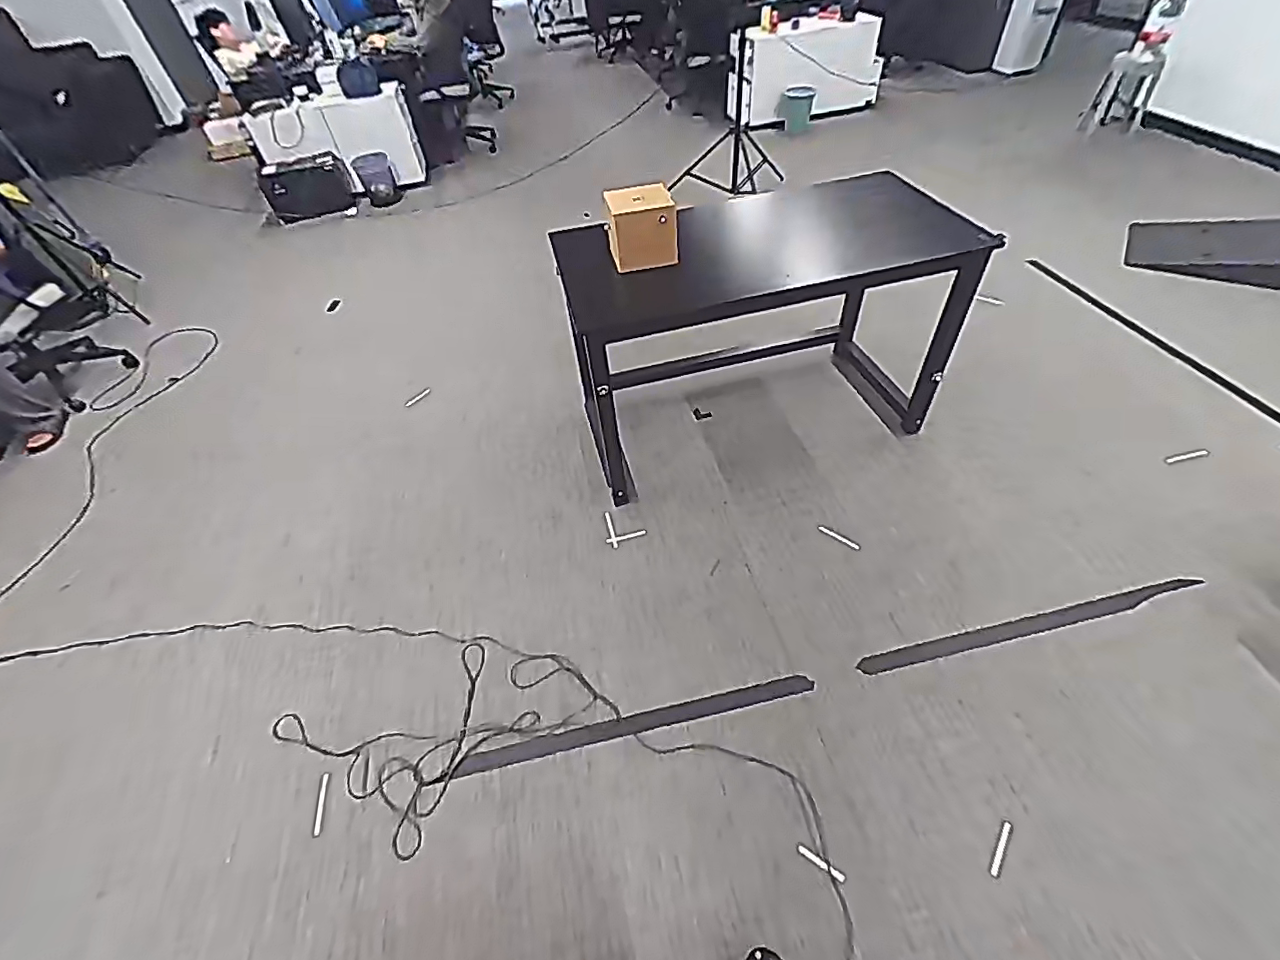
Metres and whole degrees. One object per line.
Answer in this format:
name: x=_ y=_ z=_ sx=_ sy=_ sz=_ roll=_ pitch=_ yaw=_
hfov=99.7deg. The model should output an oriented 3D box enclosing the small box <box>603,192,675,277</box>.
small box: x=0.000 y=-0.708 z=1.569 sx=0.179 sy=0.176 sz=0.168 roll=-11 pitch=48 yaw=-5
